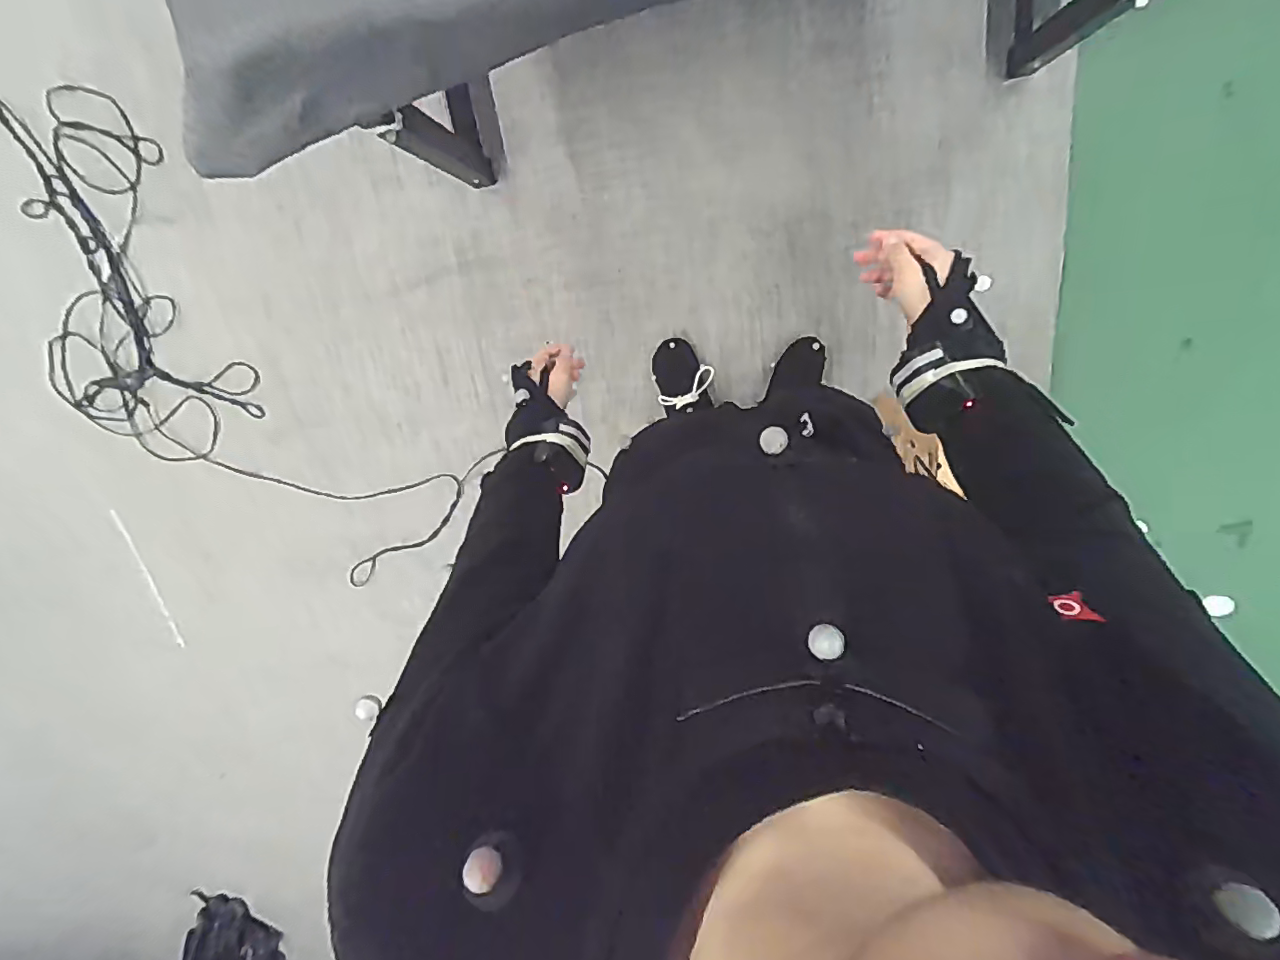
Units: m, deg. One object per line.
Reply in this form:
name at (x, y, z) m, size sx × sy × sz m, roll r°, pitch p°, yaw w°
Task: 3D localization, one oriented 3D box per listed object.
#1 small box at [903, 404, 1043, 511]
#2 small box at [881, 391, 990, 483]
small box at (0.646, -0.050, 1.068) m, size 0.179 × 0.176 × 0.168 m, roll -5°, pitch 107°, yaw 7°
small box at (0.656, -0.101, 1.224) m, size 0.179 × 0.176 × 0.168 m, roll -7°, pitch 107°, yaw 8°
